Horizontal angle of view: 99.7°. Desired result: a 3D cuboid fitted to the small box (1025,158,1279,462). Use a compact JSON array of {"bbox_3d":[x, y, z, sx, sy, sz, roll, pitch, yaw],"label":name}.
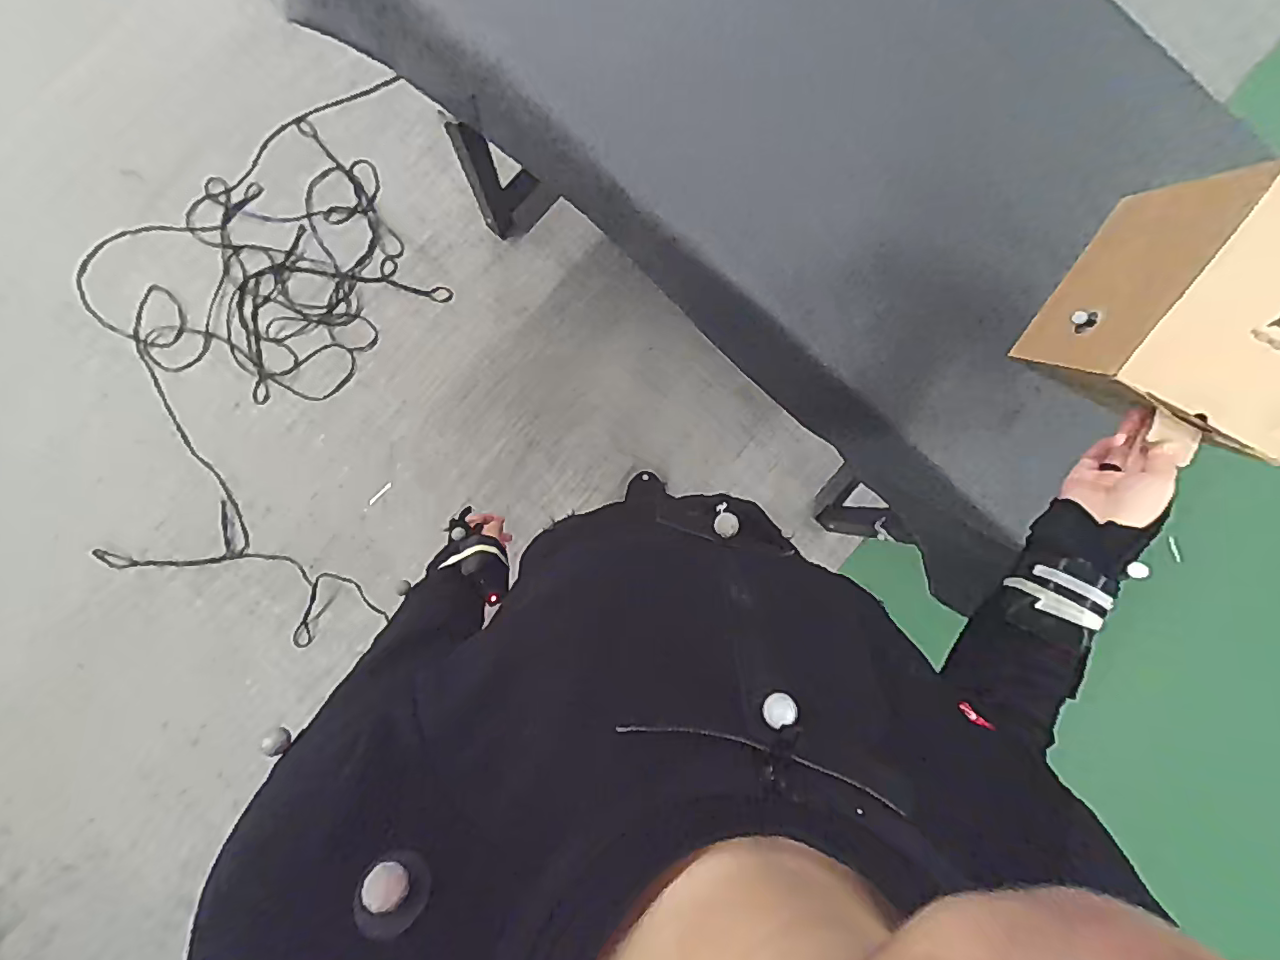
[{"bbox_3d":[0.499,-0.146,0.487,0.168,0.176,0.179,26,108,-3],"label":"small box"}]
